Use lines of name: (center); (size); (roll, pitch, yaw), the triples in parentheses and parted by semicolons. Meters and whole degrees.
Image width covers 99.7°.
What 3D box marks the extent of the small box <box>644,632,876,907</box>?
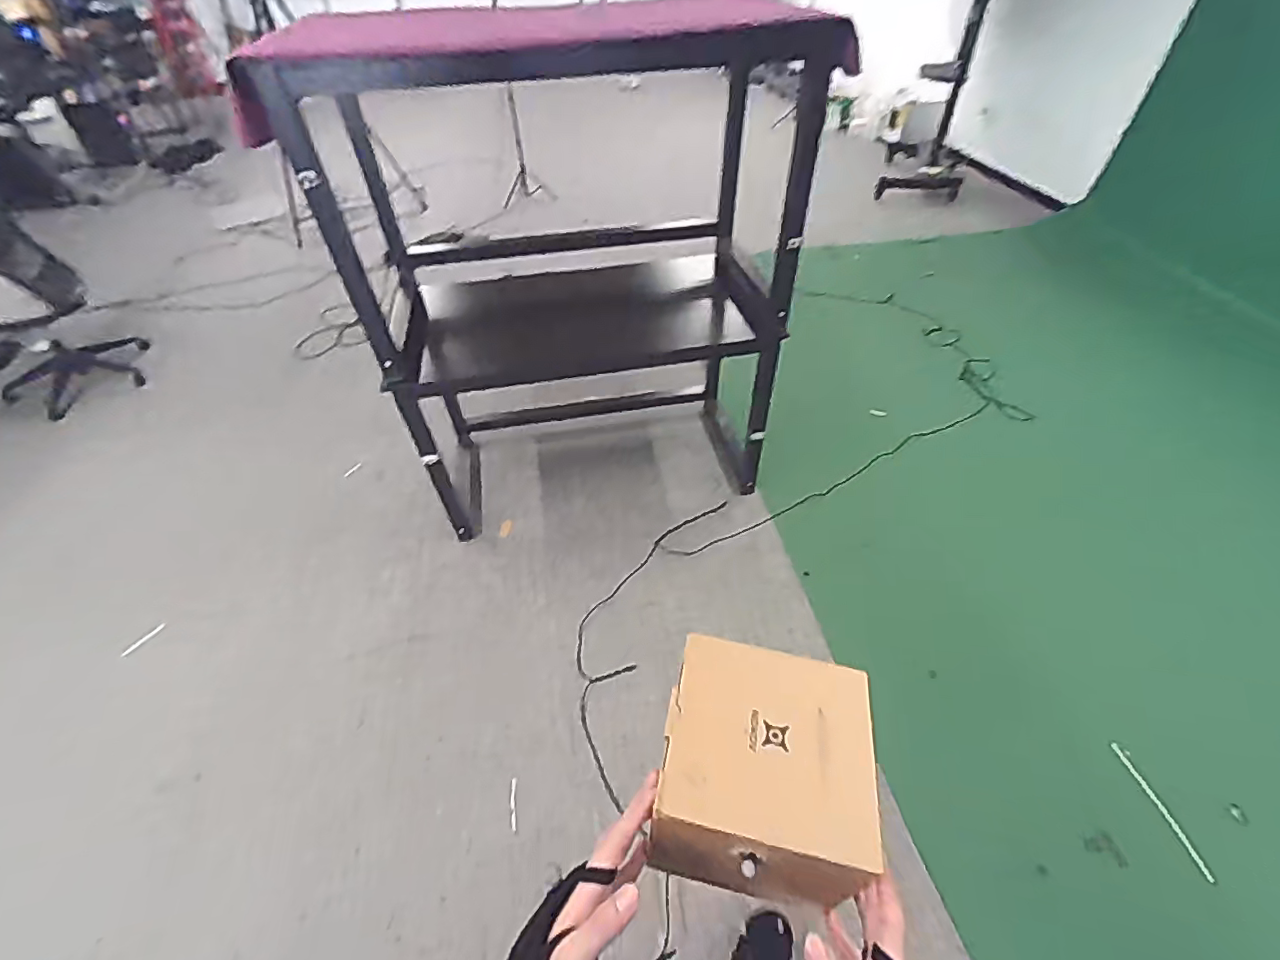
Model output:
small box: (0.104, 0.276, 0.517); (0.179, 0.176, 0.168); (10, 43, 8)
